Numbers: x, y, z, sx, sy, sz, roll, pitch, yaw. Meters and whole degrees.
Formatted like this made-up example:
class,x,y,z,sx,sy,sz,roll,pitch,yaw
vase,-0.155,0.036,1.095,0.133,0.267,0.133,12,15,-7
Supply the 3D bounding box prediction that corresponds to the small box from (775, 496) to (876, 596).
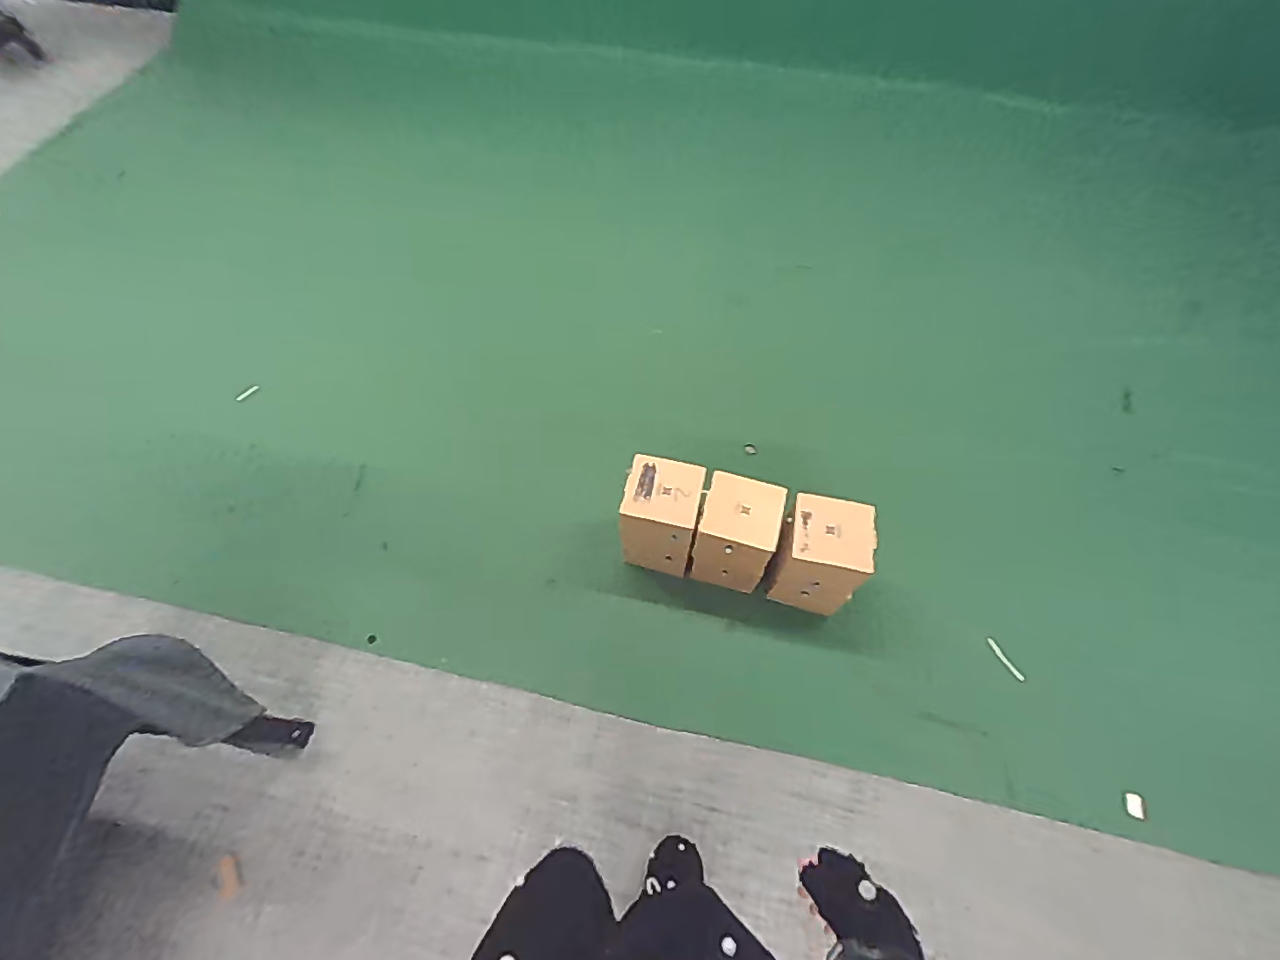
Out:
class,x,y,z,sx,sy,sz,roll,pitch,yaw
small box,0.433,0.161,1.272,0.179,0.176,0.168,12,62,5
